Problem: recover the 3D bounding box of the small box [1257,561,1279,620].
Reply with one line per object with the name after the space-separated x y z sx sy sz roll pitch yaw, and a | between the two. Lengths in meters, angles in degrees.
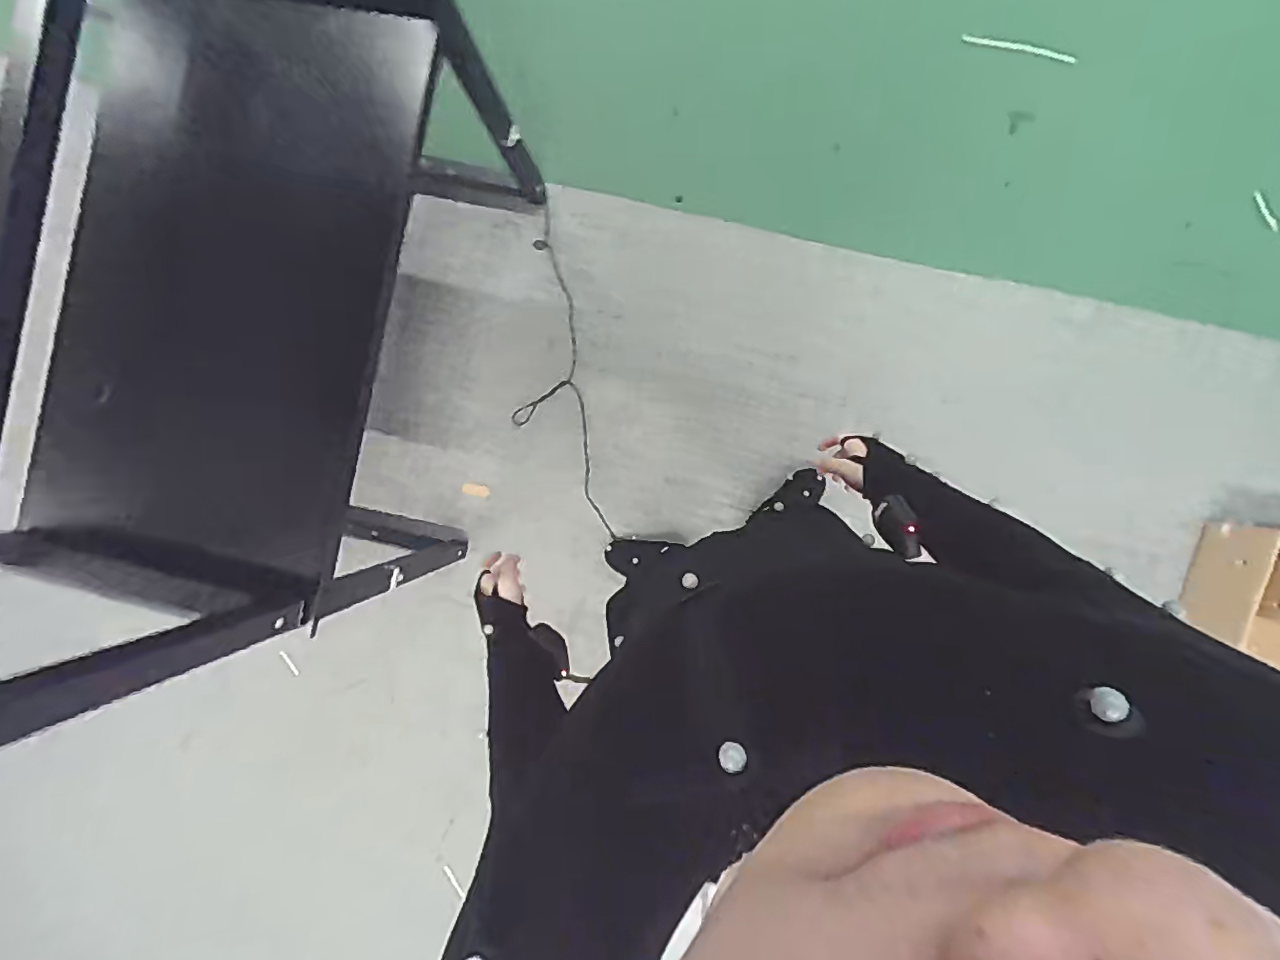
1.751 0.303 1.367 0.179 0.176 0.168 15 94 4 | small box
